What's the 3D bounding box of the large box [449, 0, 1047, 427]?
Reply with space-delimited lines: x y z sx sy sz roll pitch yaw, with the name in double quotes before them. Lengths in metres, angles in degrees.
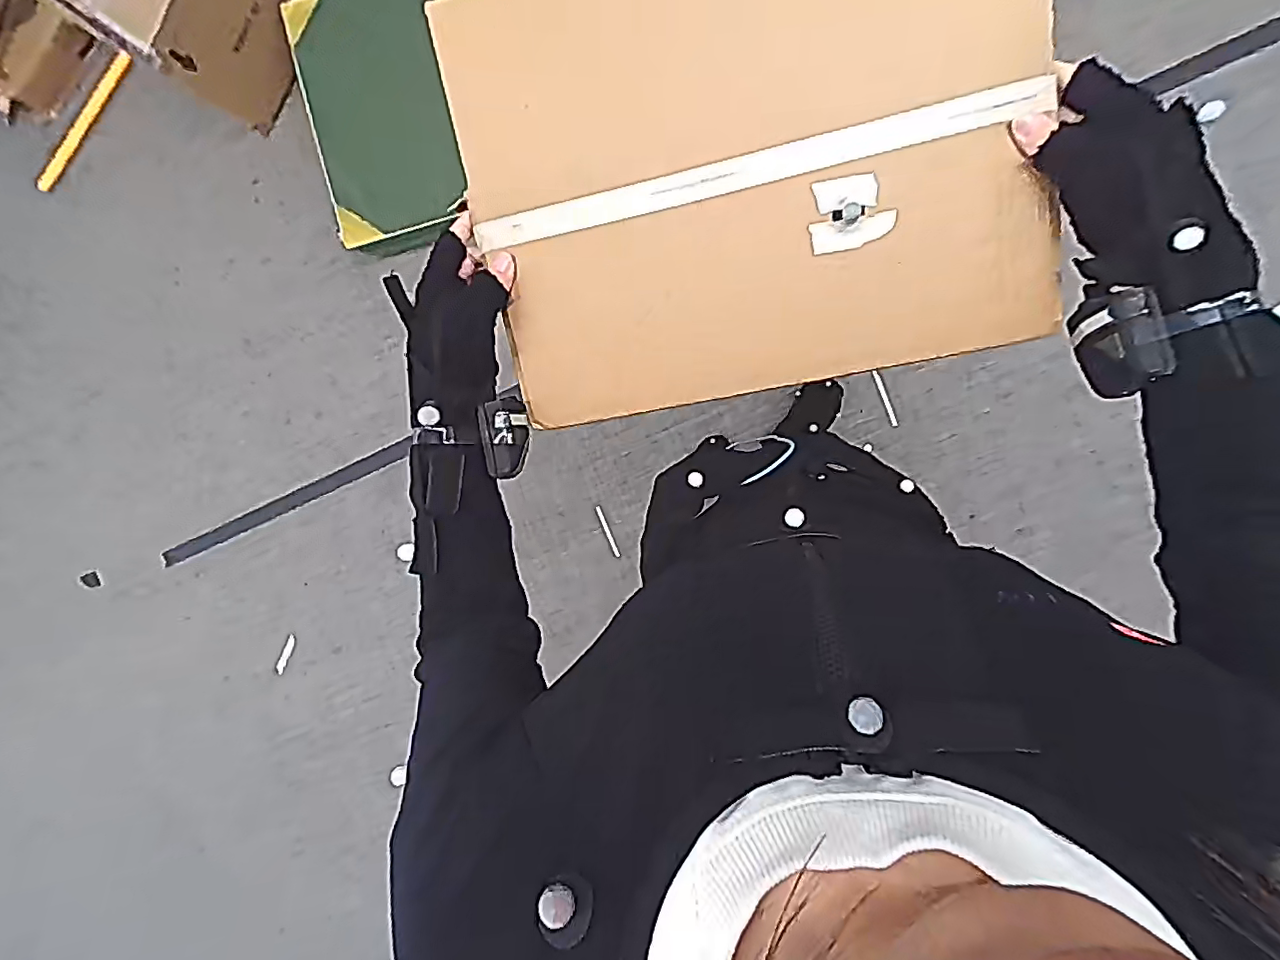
"large box" 0.094 -0.261 0.544 0.408 0.320 0.320 -10 104 8
